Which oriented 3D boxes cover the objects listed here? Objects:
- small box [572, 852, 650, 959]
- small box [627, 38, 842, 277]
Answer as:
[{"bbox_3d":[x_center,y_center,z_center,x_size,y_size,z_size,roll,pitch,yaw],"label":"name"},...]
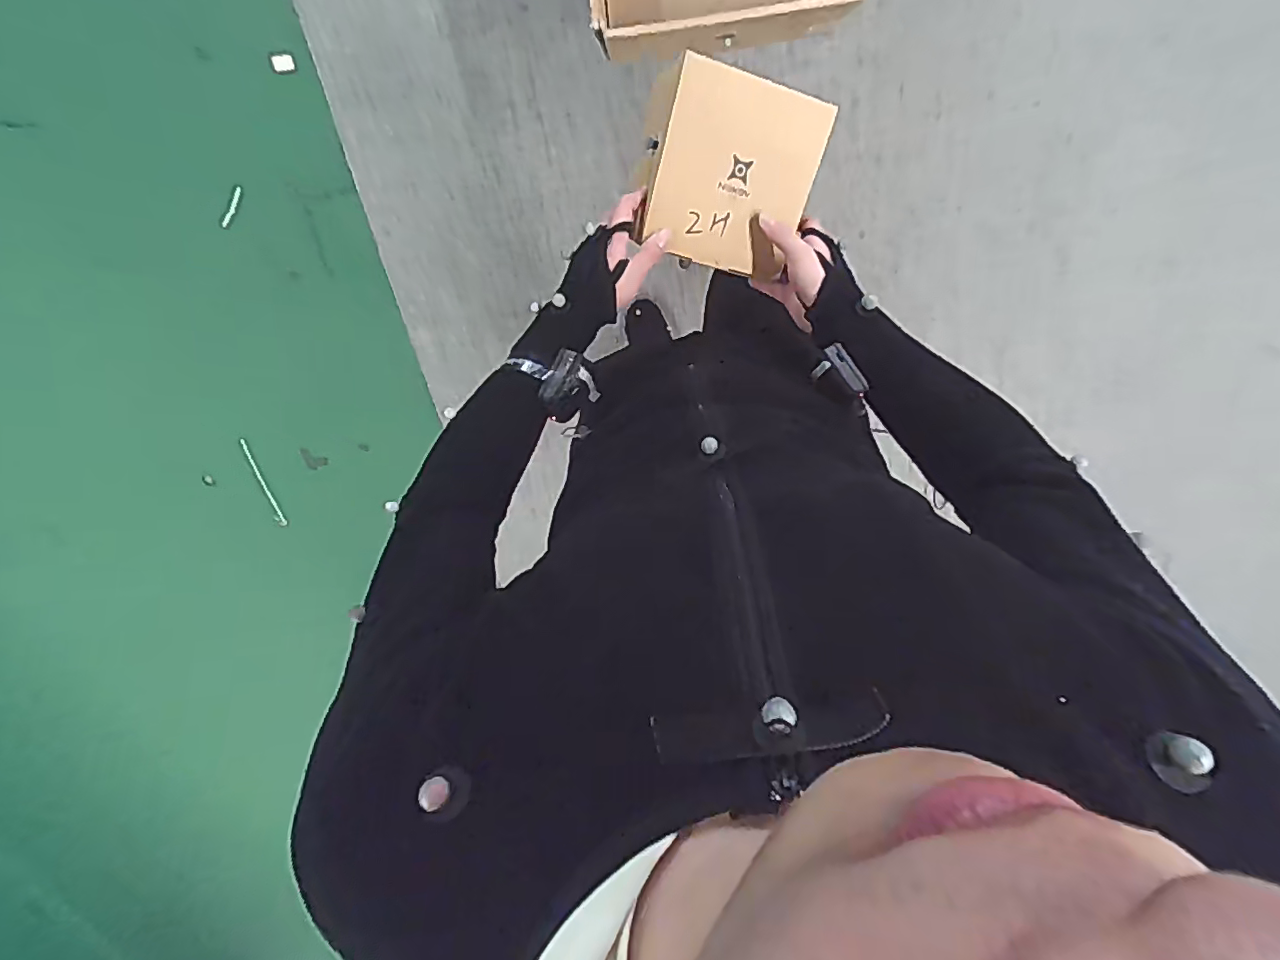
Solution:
[{"bbox_3d":[-0.065,1.058,1.343,0.179,0.176,0.168,0,117,2],"label":"small box"},{"bbox_3d":[0.089,-0.353,0.616,0.168,0.176,0.179,10,117,-14],"label":"small box"}]
